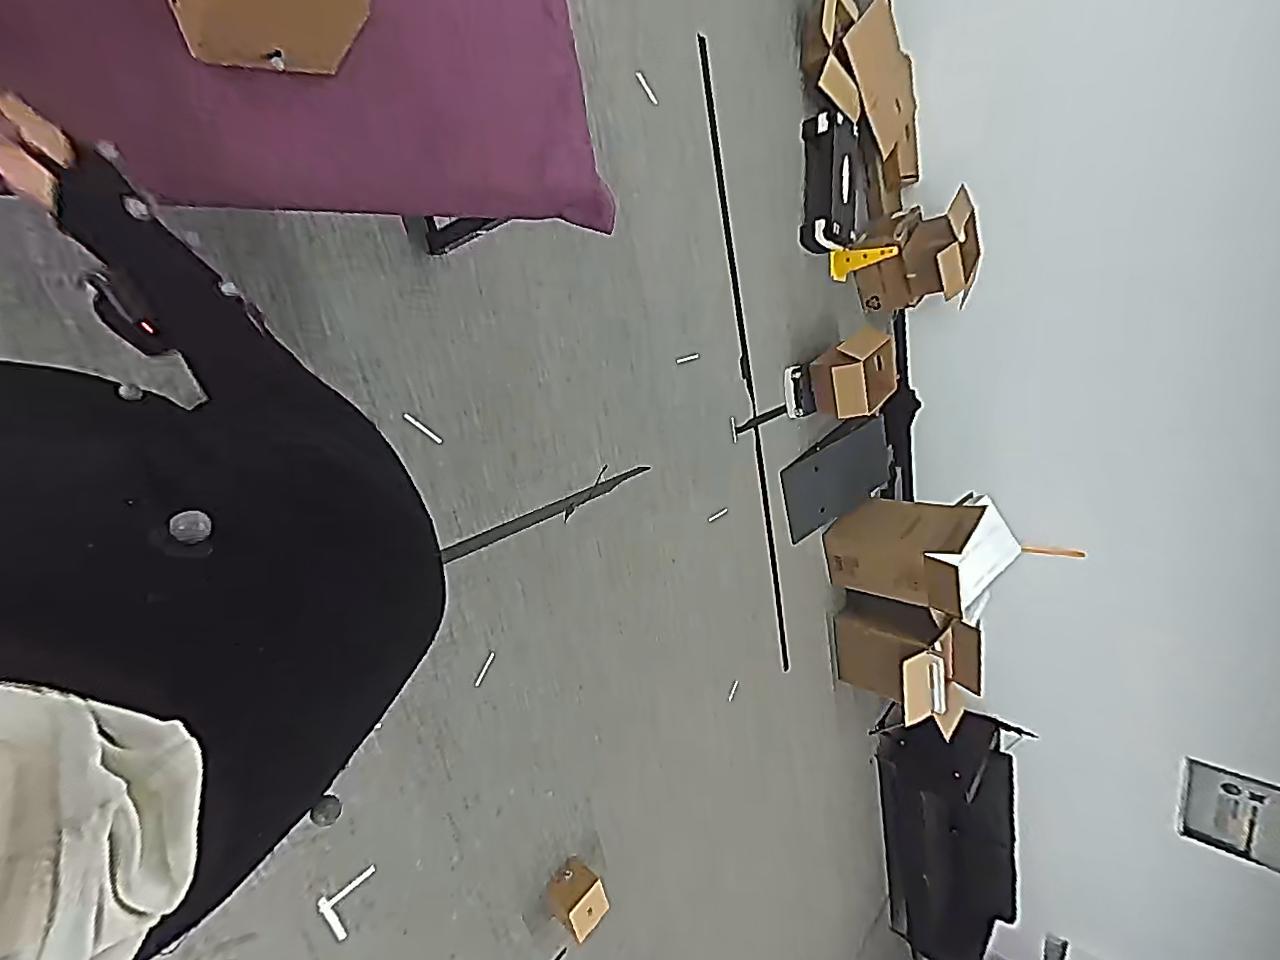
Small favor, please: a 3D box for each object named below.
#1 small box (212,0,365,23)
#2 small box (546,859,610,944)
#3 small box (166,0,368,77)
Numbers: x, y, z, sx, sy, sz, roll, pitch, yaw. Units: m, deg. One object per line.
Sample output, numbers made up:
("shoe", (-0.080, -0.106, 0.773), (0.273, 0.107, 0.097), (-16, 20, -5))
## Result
("small box", (-0.376, -0.607, 0.544), (0.179, 0.176, 0.168), (-29, 113, -39))
("small box", (-0.251, 1.687, 2.175), (0.168, 0.176, 0.179), (-29, 114, -39))
("small box", (-0.478, -0.634, 0.670), (0.179, 0.176, 0.168), (-29, 112, -39))
